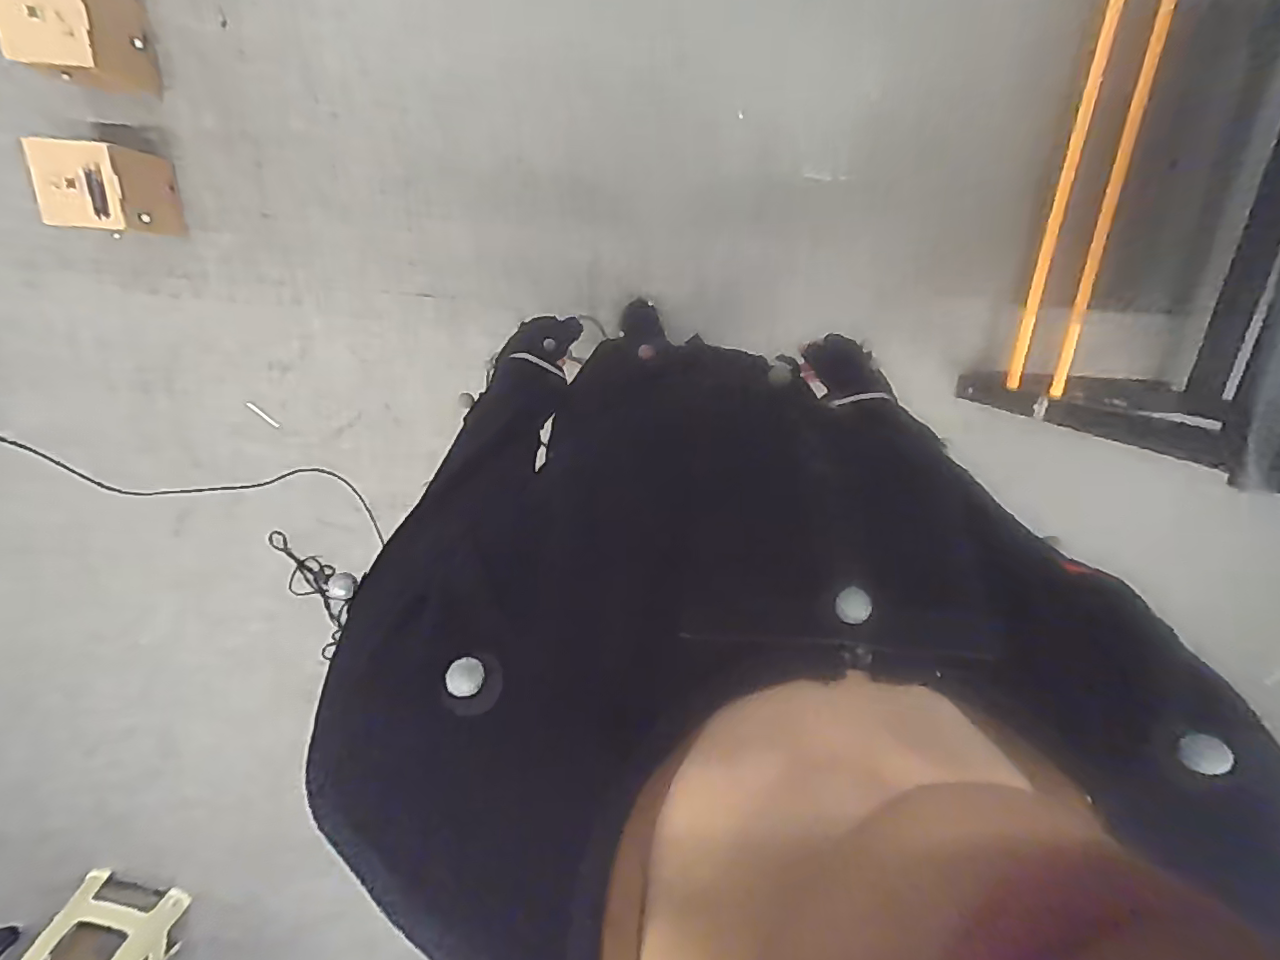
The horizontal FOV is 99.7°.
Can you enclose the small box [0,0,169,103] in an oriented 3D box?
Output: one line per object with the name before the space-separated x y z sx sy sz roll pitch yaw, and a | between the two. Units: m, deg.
small box | -1.141 -0.908 1.118 0.179 0.176 0.168 4 108 -2
